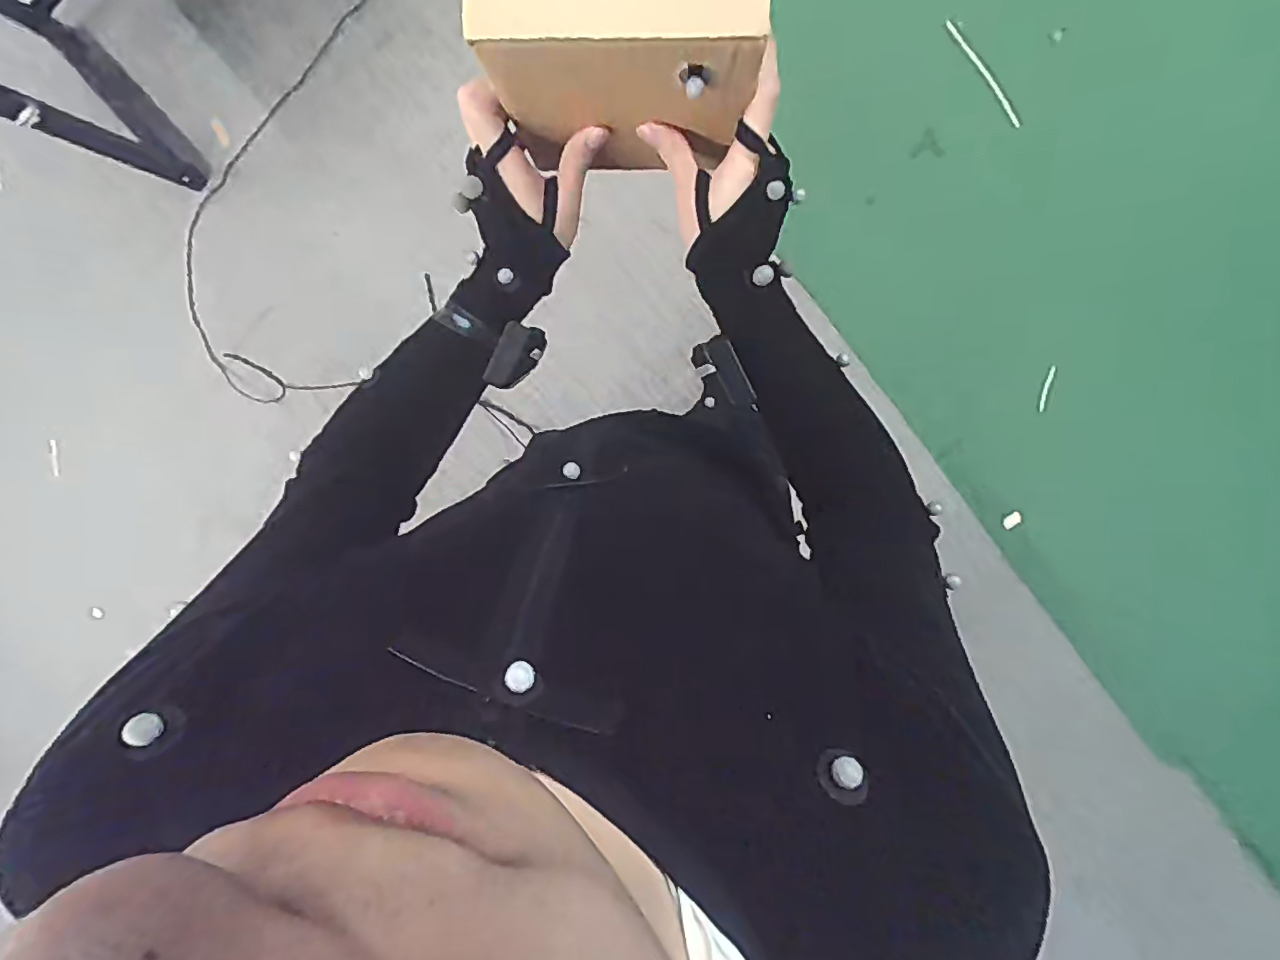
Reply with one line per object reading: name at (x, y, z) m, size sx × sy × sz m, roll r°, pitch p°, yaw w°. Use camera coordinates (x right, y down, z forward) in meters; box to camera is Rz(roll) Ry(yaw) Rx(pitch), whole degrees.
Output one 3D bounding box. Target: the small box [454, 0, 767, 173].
small box at (-0.012, -0.333, 0.372) m, size 0.179 × 0.176 × 0.168 m, roll 1°, pitch 96°, yaw 2°
